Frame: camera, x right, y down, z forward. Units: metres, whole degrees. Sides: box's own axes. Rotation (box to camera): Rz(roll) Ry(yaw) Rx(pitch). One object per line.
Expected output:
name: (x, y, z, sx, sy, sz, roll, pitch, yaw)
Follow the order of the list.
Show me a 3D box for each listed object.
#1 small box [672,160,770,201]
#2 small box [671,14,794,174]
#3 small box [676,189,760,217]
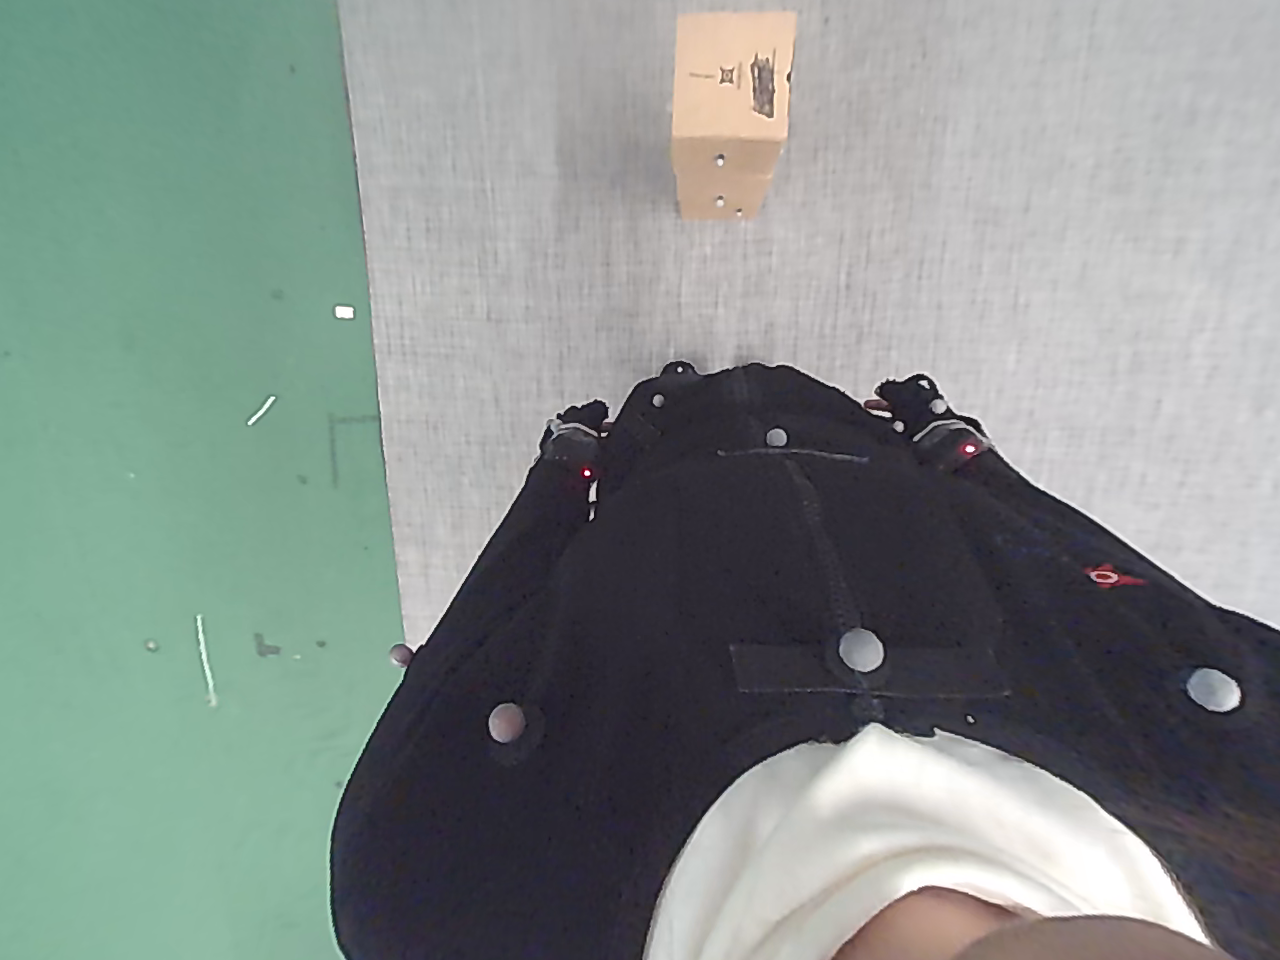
small box: (0.157, -0.650, 1.041, 0.179, 0.176, 0.168, 6, 103, 3)
small box: (0.140, -0.615, 0.881, 0.179, 0.176, 0.168, 1, 103, 3)
small box: (0.172, -0.693, 1.199, 0.179, 0.176, 0.168, 2, 102, 6)
